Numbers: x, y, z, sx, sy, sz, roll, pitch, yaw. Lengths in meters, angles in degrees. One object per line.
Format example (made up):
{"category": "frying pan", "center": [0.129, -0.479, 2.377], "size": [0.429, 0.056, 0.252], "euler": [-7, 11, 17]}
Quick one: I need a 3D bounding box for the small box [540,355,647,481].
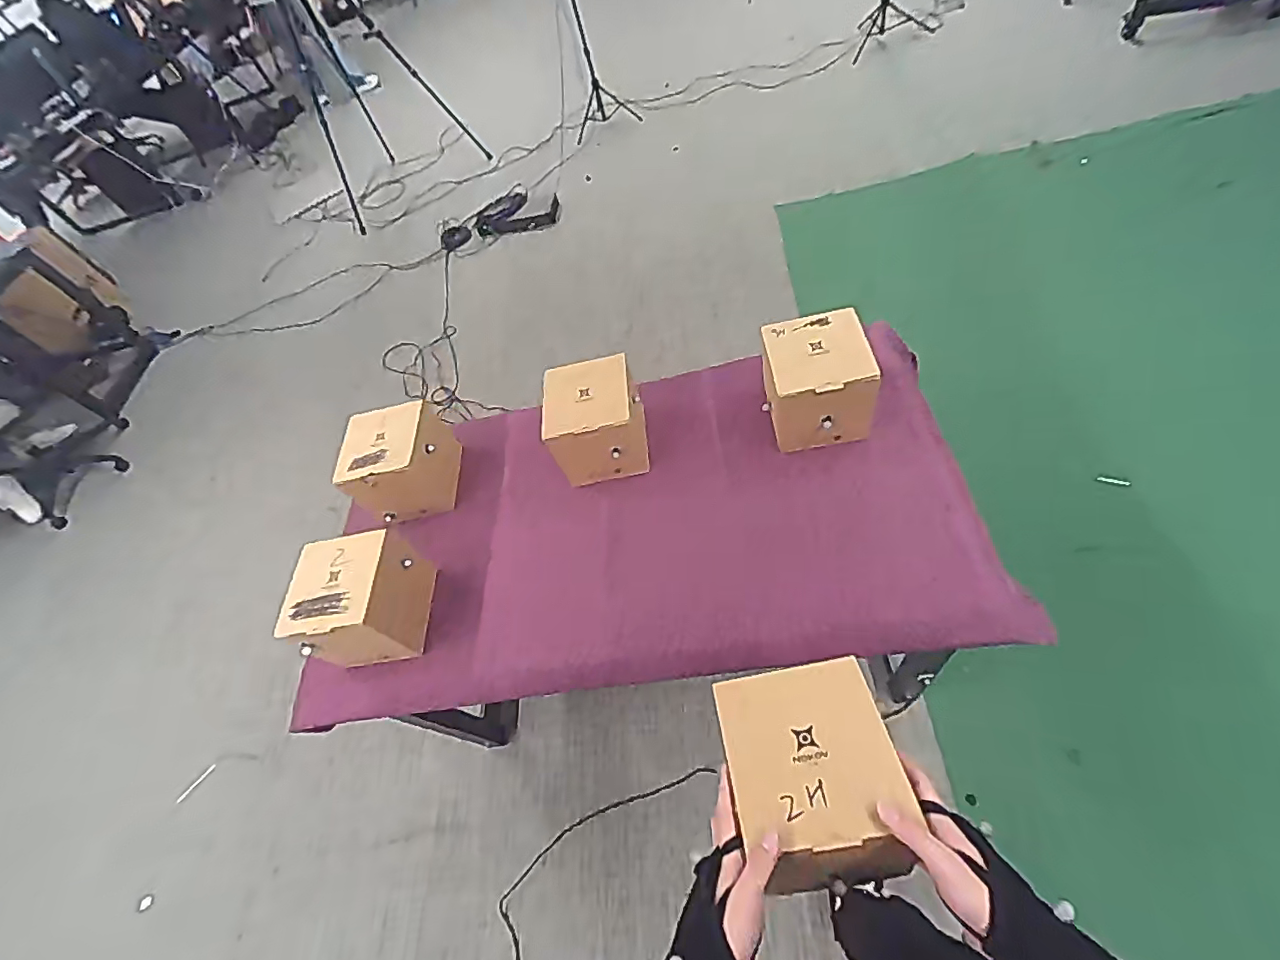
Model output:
{"category": "small box", "center": [-0.087, -0.112, 1.069], "size": [0.168, 0.176, 0.179], "euler": [-11, 55, 9]}

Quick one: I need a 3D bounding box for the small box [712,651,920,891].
{"category": "small box", "center": [0.184, 0.323, 0.603], "size": [0.168, 0.176, 0.179], "euler": [-14, 41, 6]}

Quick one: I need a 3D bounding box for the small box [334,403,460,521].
{"category": "small box", "center": [-0.497, -0.029, 1.134], "size": [0.168, 0.176, 0.179], "euler": [-12, 55, 8]}

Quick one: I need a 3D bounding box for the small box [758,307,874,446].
{"category": "small box", "center": [0.316, -0.178, 0.989], "size": [0.168, 0.176, 0.179], "euler": [-10, 56, 10]}
